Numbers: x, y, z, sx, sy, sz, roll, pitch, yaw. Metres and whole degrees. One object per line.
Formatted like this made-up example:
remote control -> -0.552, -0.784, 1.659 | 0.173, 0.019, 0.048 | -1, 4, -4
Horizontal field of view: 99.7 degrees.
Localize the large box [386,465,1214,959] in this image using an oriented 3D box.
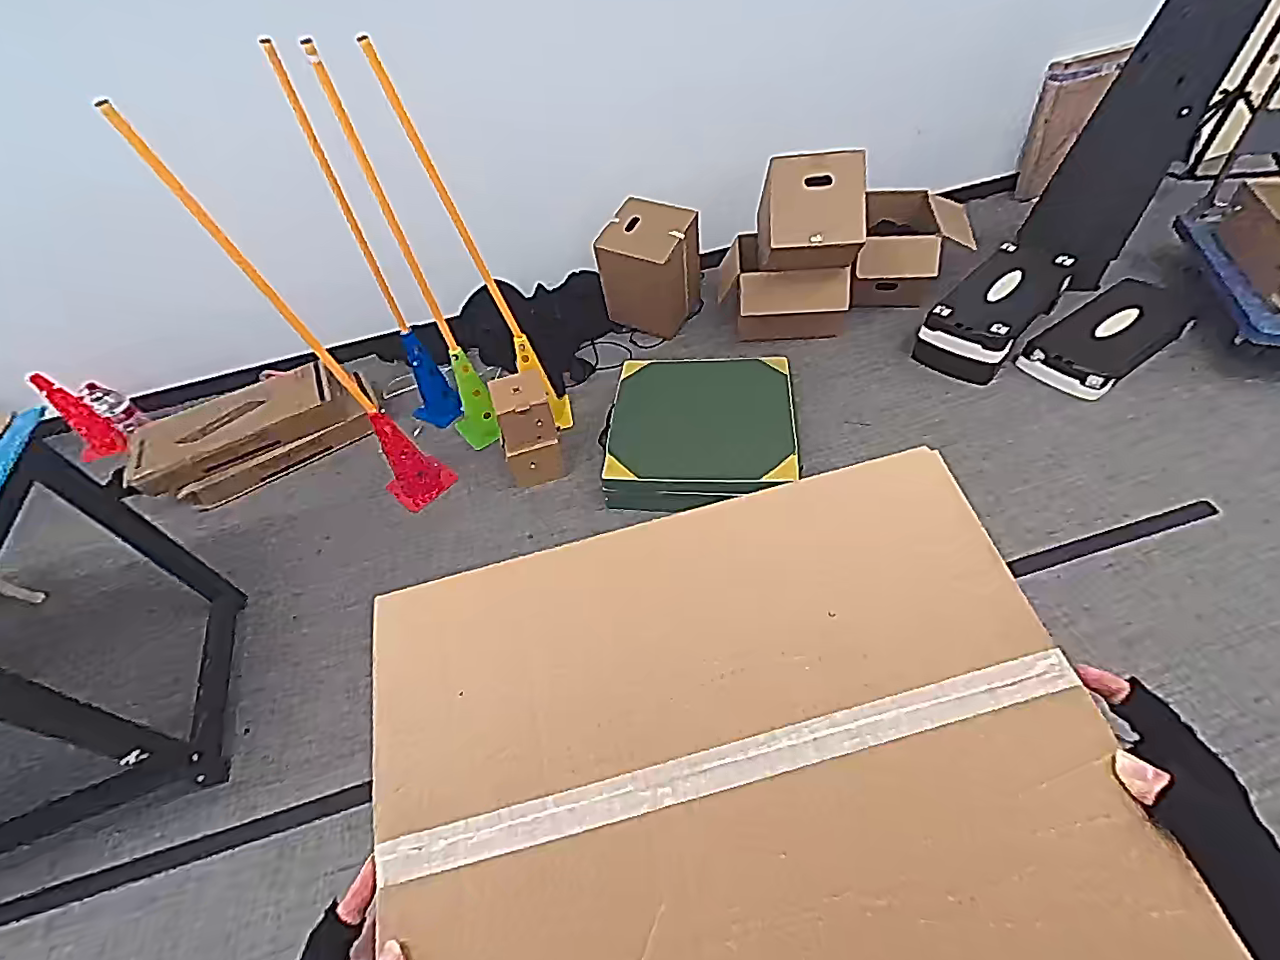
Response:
large box -> 0.067, 0.238, 0.444 | 0.408, 0.320, 0.320 | -15, 60, -1
